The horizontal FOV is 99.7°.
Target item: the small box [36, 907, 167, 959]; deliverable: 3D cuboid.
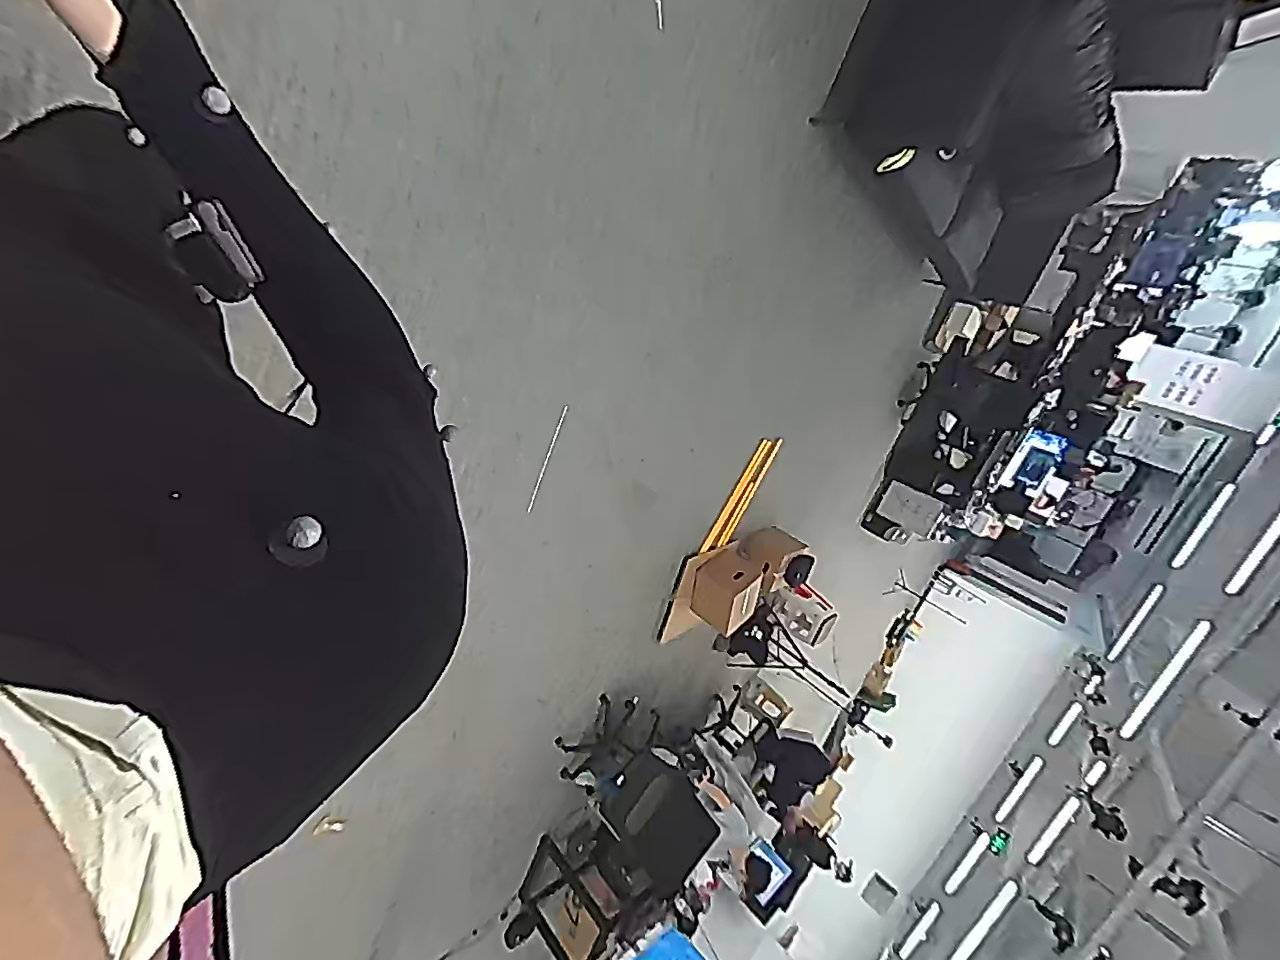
[{"bbox_3d":[-0.949,0.920,0.953,0.168,0.176,0.179,-1,116,-48],"label":"small box"}]
